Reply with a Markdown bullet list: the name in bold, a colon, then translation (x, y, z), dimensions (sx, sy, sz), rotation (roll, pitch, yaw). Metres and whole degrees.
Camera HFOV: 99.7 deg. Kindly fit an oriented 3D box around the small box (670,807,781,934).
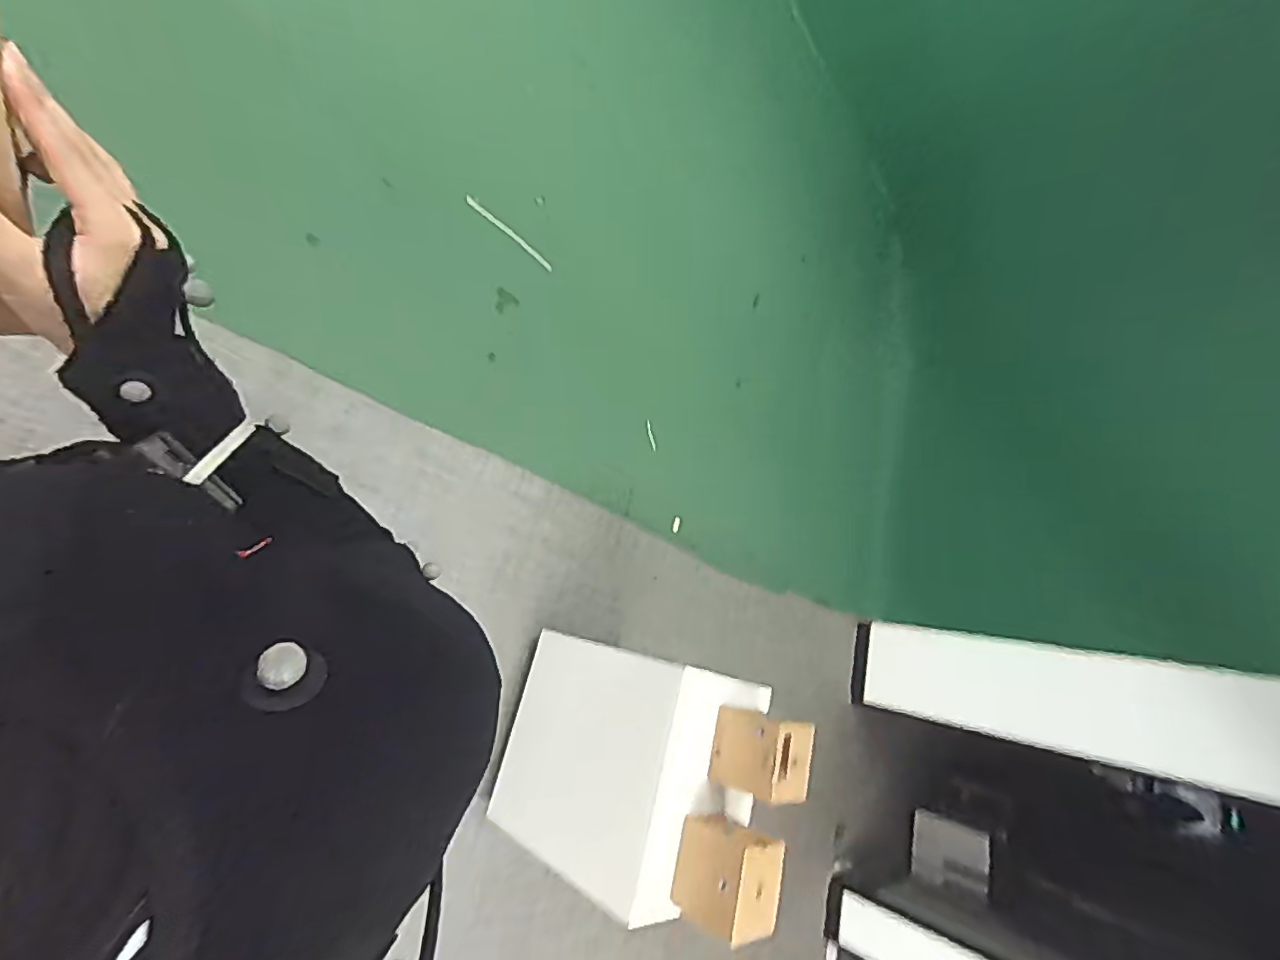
- **small box**: translation (0.187, 0.842, 1.190), dimensions (0.168, 0.176, 0.179), rotation (27, 69, -41)
